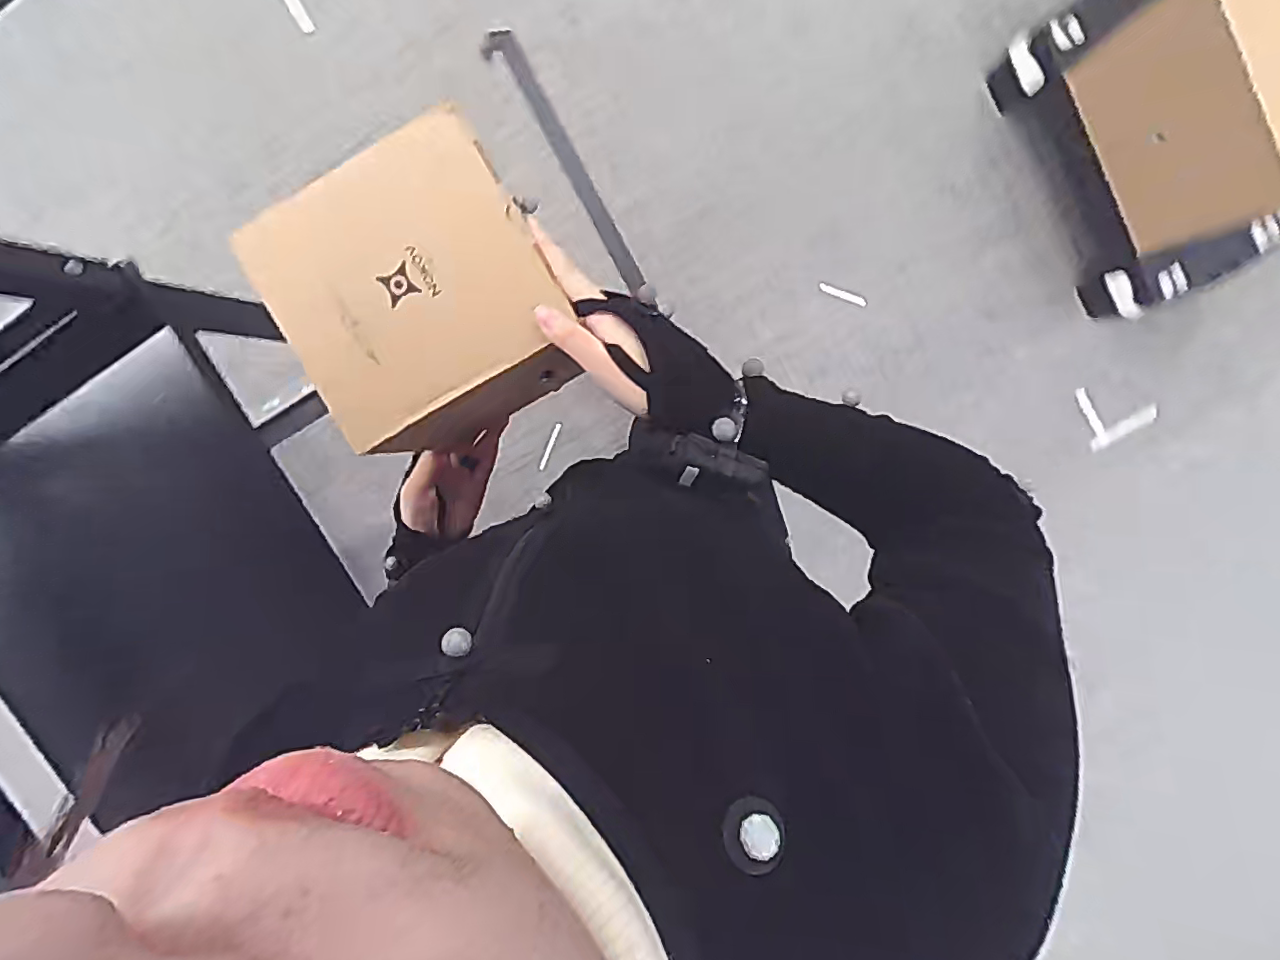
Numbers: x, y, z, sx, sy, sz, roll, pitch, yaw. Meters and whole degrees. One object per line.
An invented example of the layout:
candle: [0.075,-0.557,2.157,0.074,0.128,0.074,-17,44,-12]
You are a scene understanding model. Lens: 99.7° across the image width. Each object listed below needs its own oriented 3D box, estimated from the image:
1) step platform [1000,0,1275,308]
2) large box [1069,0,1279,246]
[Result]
step platform: [1.076,-0.749,1.186,0.286,0.204,0.684,-23,96,7]
large box: [1.082,-0.706,0.950,0.320,0.320,0.408,-29,95,7]
